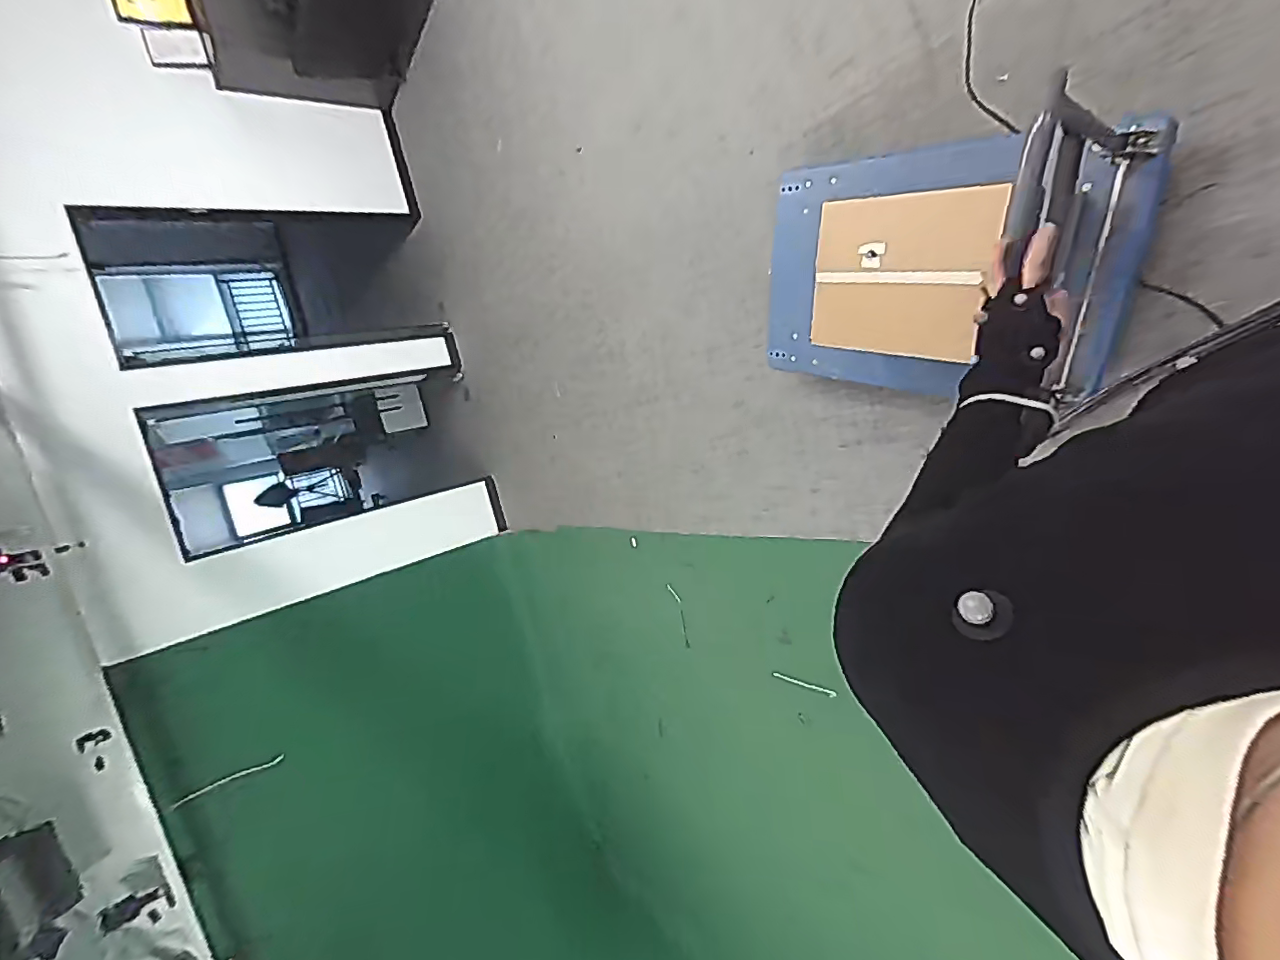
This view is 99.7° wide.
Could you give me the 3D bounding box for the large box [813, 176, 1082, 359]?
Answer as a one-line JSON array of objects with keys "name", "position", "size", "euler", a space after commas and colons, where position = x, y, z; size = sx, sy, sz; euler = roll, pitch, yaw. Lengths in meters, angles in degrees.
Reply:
[{"name": "large box", "position": [0.655, -0.465, 1.195], "size": [0.408, 0.320, 0.320], "euler": [25, 124, 47]}]
